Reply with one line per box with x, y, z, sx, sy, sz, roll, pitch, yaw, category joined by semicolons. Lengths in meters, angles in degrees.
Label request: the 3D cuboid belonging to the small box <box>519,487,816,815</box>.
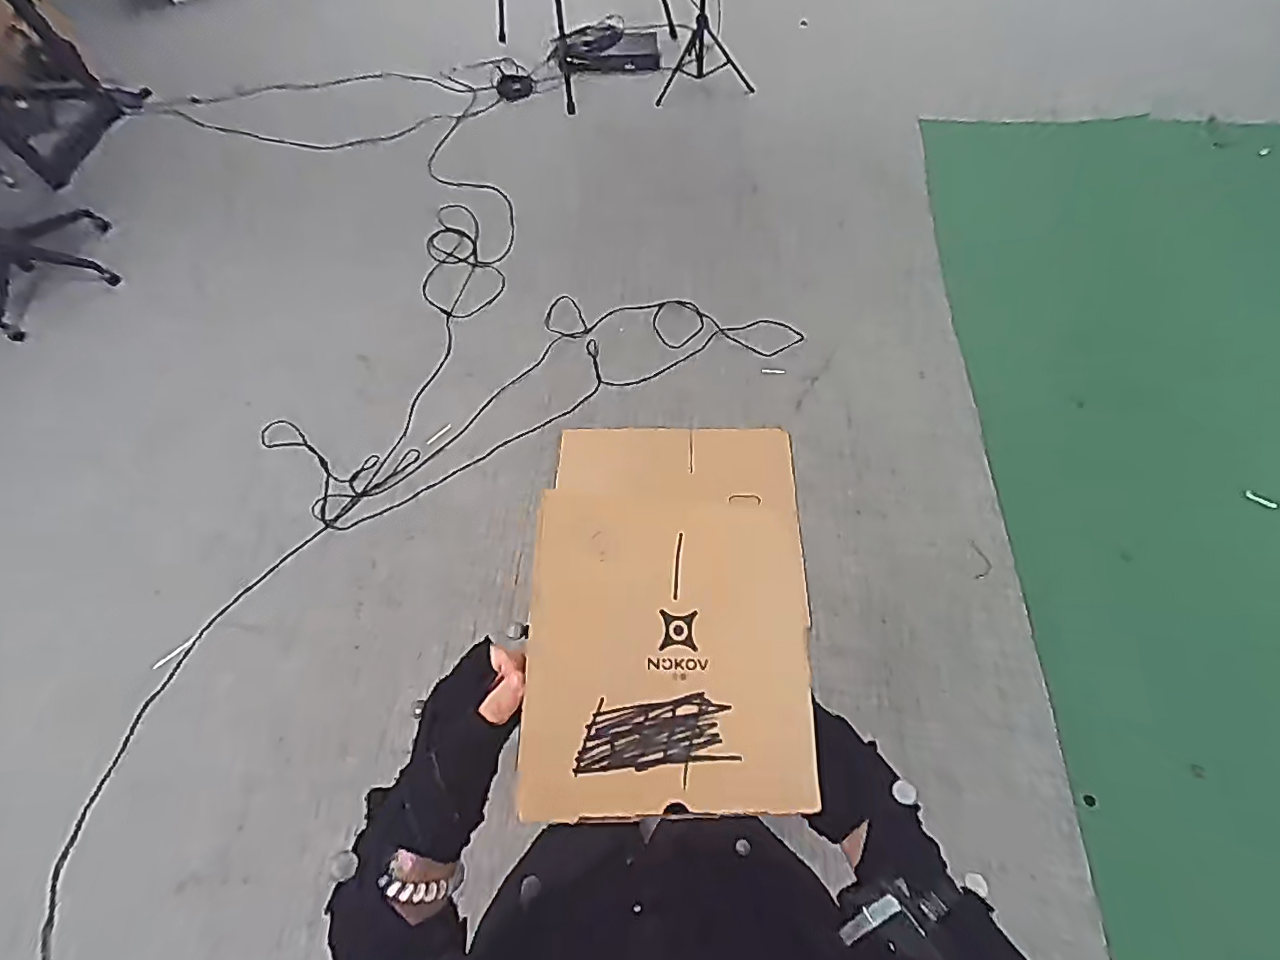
0.006;0.116;0.387;0.168;0.176;0.179;5;72;-11;small box
